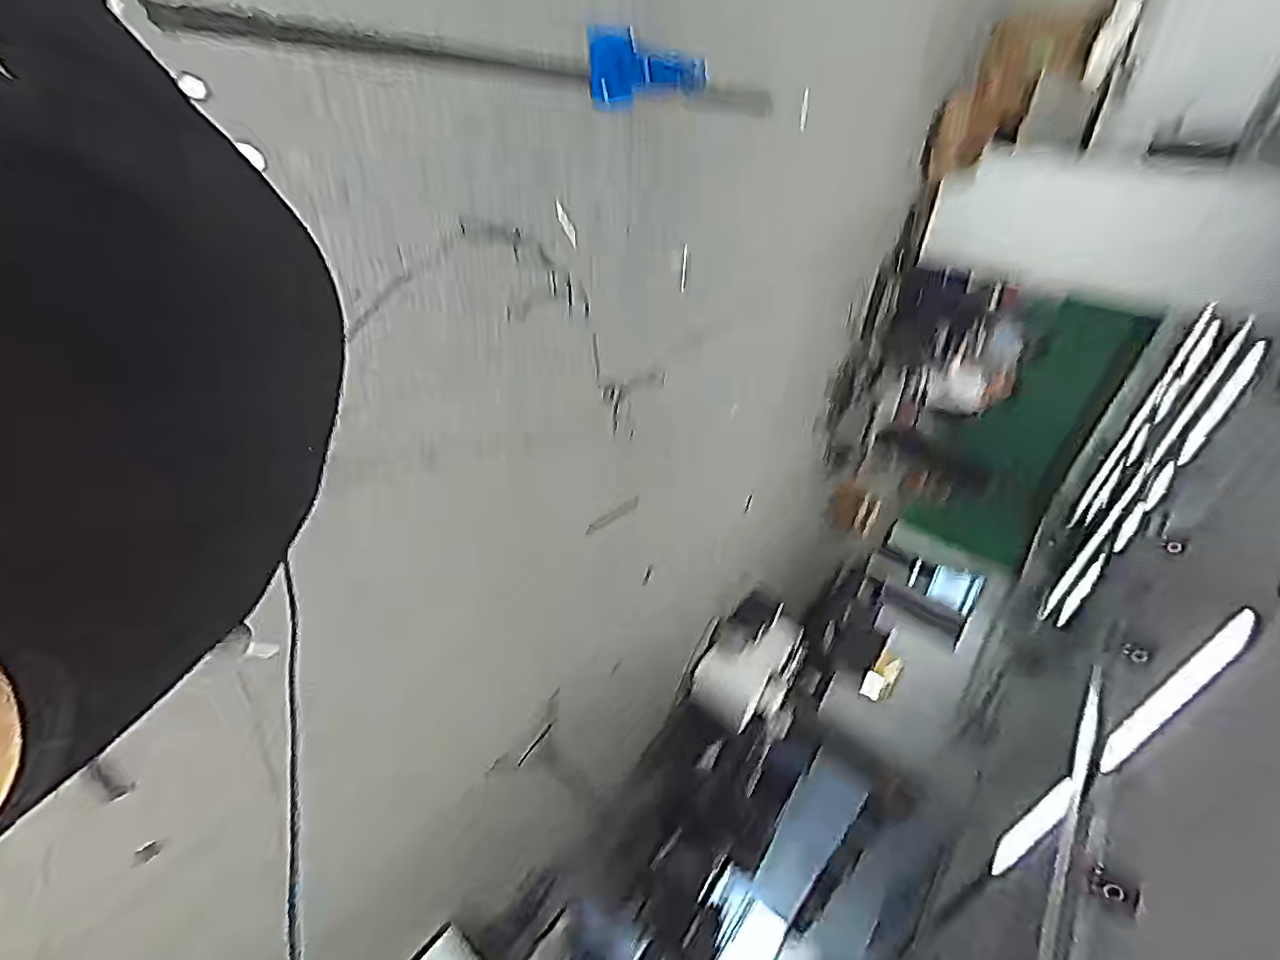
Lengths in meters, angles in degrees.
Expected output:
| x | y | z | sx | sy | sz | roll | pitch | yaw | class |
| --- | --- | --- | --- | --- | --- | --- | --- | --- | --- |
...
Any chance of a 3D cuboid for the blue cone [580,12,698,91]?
| x | y | z | sx | sy | sz | roll | pitch | yaw | class |
| --- | --- | --- | --- | --- | --- | --- | --- | --- | --- |
| 0.010 | -1.284 | 1.620 | 0.193 | 0.380 | 0.192 | -36 | 140 | -38 | blue cone |
